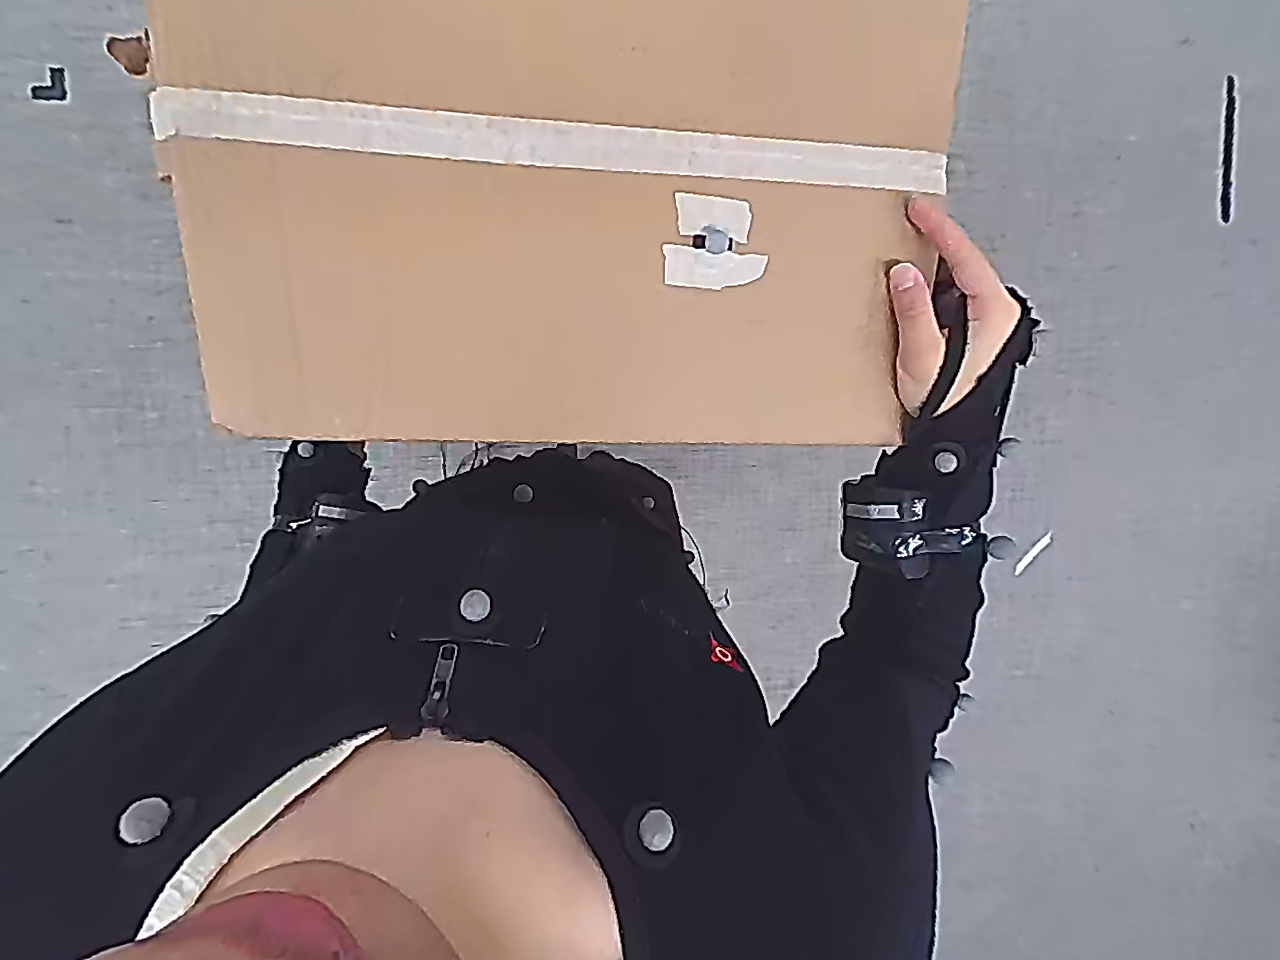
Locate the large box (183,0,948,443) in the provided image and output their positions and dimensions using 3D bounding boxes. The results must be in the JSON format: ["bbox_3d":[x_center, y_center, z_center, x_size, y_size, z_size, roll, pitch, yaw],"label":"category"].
[{"bbox_3d":[-0.047,-0.208,0.441,0.408,0.320,0.320,-1,103,-9],"label":"large box"}]
